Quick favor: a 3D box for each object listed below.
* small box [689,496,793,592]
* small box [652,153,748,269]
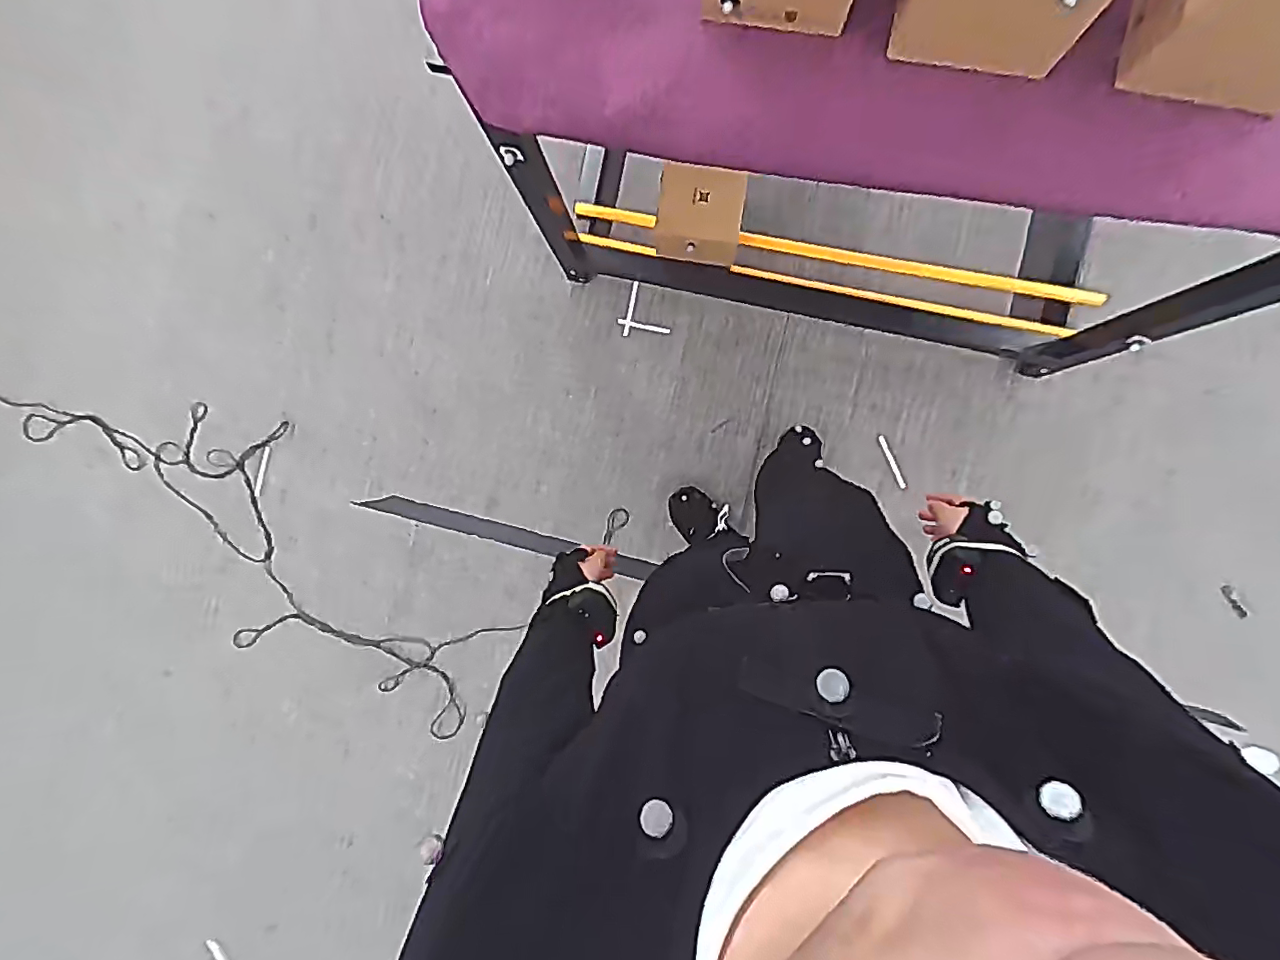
[{"bbox_3d":[0.227,0.145,1.250,0.179,0.176,0.168,-30,86,4],"label":"small box"},{"bbox_3d":[0.127,-0.573,1.170,0.179,0.176,0.168,8,92,5],"label":"small box"}]
